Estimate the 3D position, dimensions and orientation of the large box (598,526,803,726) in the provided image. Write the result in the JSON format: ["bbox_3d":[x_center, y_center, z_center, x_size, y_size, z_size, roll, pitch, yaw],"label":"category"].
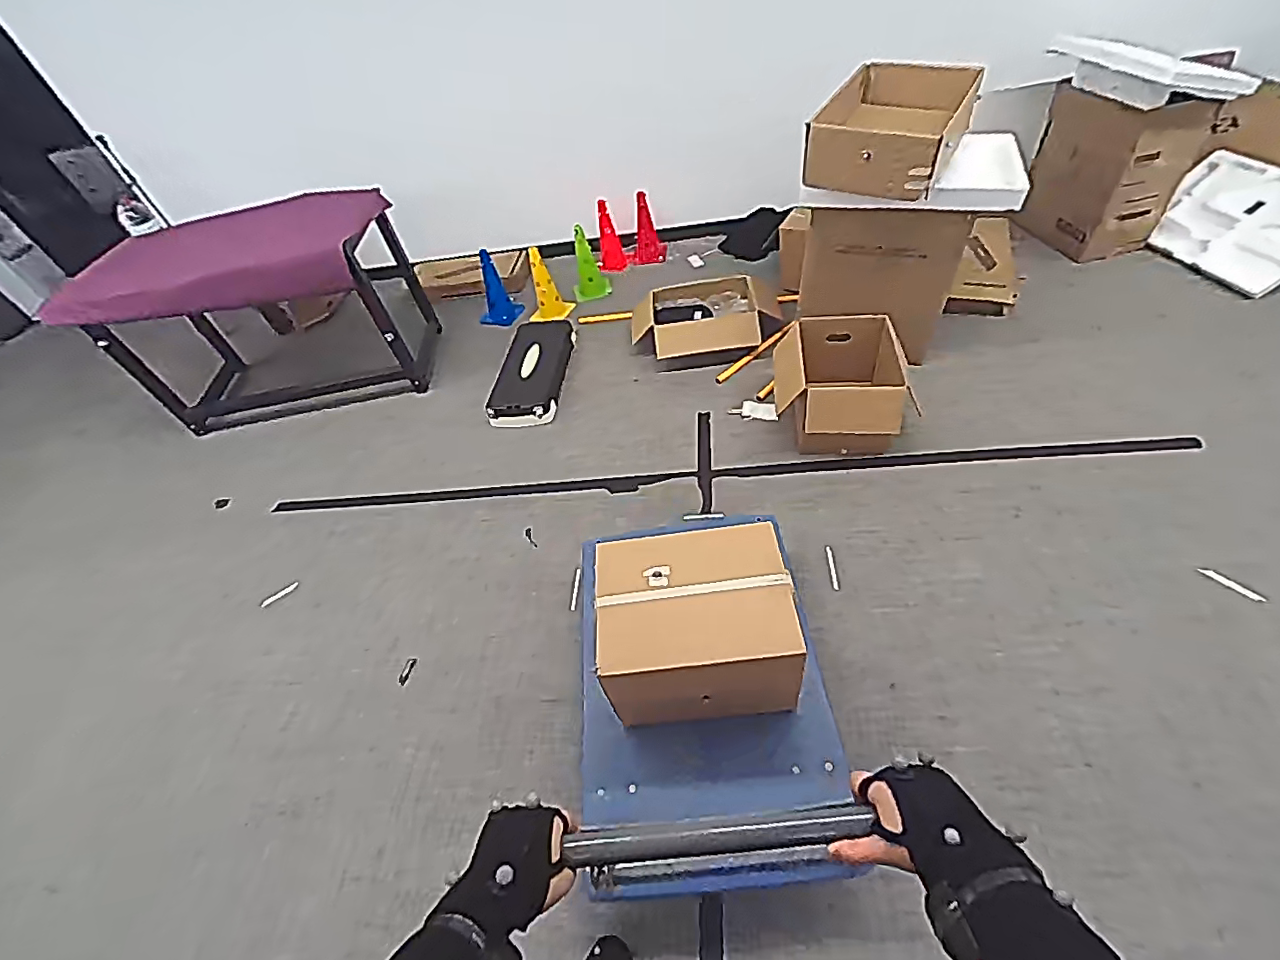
[{"bbox_3d":[0.133,0.346,1.256,0.408,0.320,0.320,-9,47,5],"label":"large box"}]
